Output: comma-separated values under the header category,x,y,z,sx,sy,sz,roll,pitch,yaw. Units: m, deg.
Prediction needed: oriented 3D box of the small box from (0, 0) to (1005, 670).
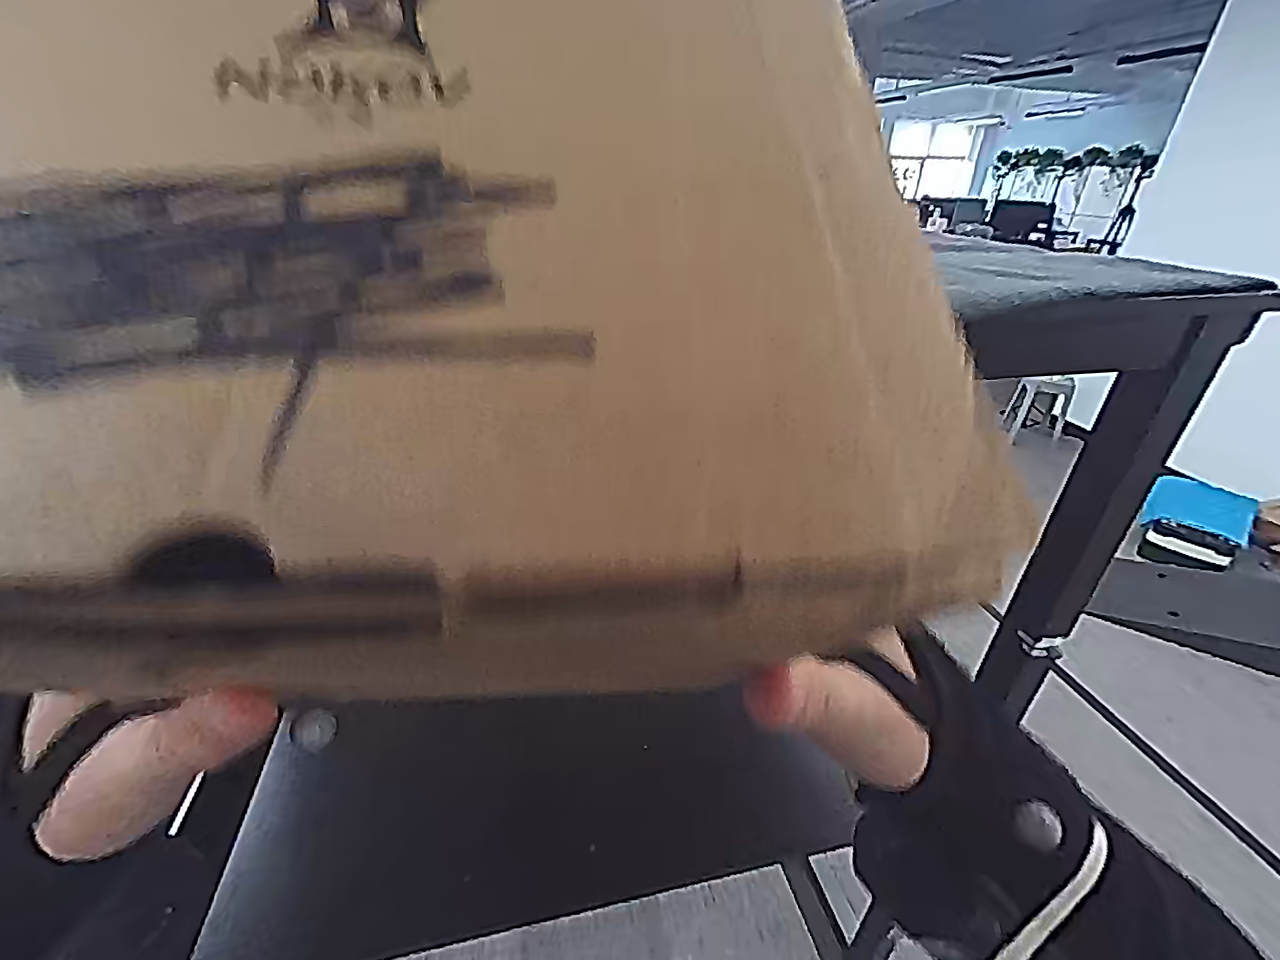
category,x,y,z,sx,sy,sz,roll,pitch,yaw
small box,-0.049,-0.041,0.160,0.168,0.176,0.179,-1,65,-5
